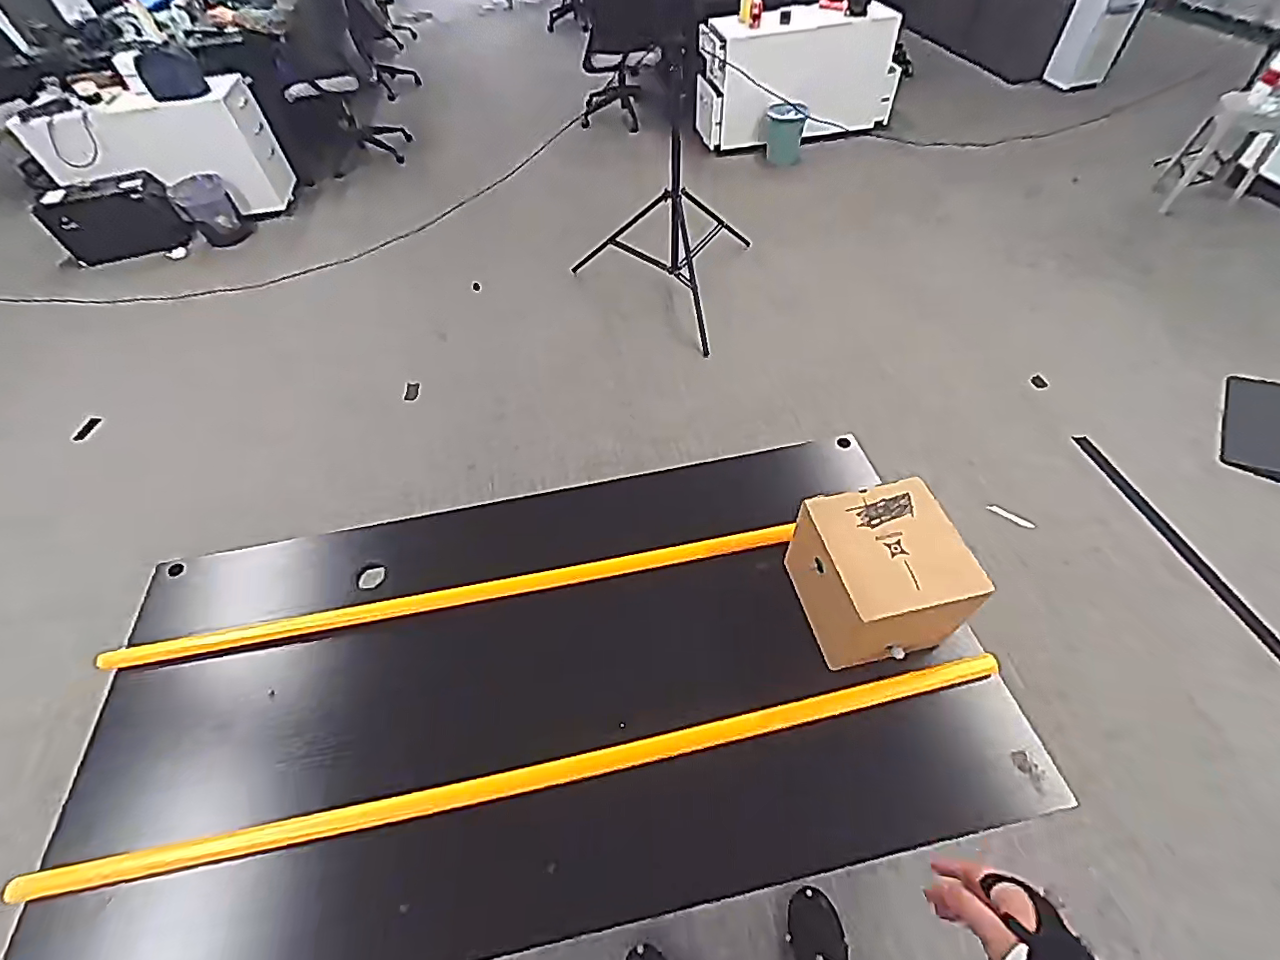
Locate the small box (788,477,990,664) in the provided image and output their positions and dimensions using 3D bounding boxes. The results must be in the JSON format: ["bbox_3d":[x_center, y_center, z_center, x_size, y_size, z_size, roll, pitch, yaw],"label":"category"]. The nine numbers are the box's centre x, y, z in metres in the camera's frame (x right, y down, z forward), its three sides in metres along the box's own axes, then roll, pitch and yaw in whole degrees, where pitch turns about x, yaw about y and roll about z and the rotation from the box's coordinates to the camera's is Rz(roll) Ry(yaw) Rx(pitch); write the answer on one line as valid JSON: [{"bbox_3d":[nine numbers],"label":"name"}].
[{"bbox_3d":[0.317,0.124,0.735,0.168,0.176,0.179,-11,53,-4],"label":"small box"}]
